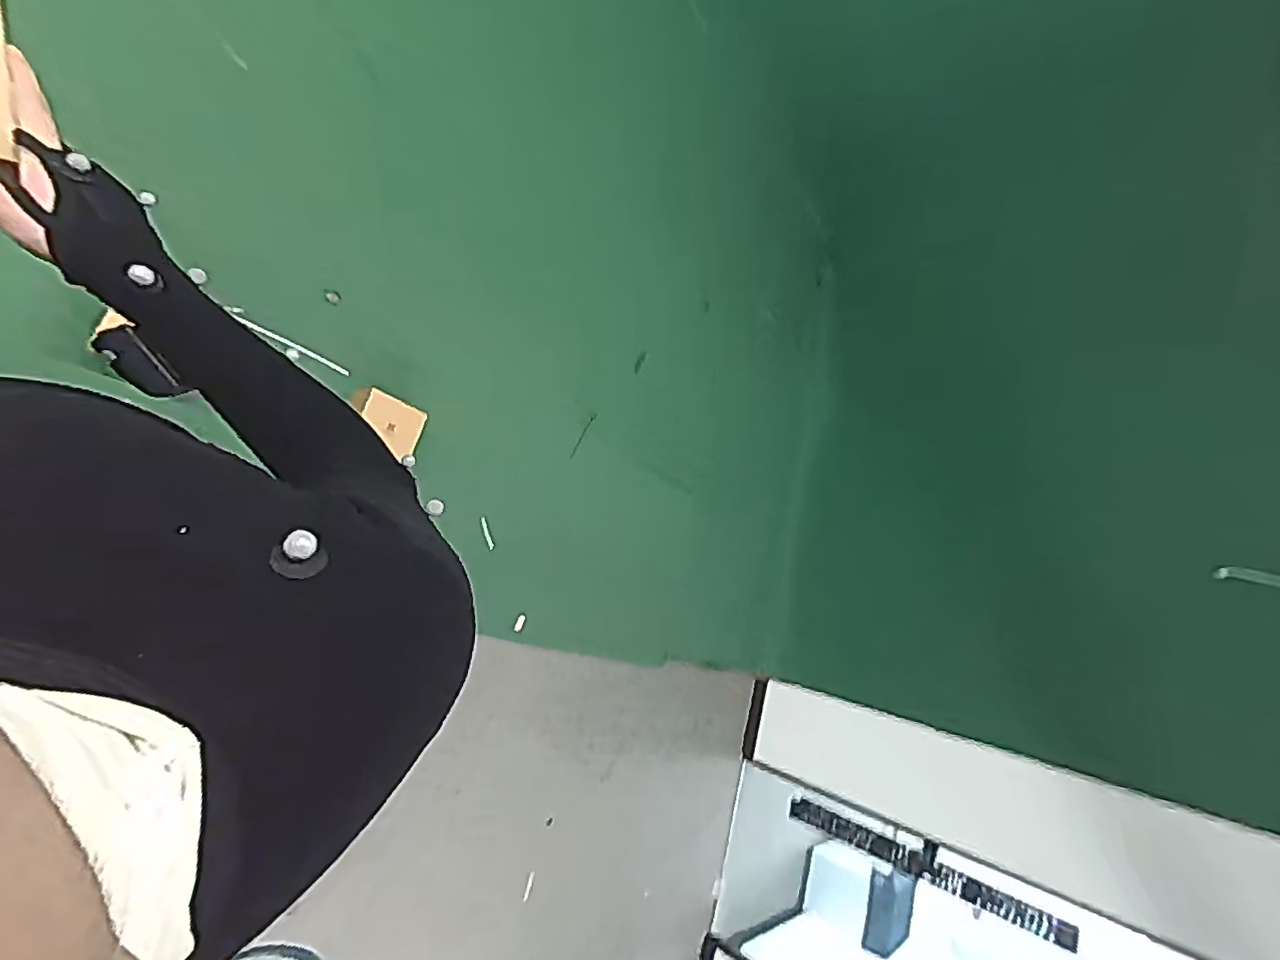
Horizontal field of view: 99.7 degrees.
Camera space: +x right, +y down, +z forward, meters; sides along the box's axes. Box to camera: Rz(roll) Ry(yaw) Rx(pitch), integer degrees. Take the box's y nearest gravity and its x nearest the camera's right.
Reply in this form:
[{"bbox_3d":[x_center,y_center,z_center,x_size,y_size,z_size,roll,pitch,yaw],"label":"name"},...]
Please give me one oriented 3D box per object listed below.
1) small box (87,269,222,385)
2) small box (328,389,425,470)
[{"bbox_3d":[-1.065,-0.323,1.188,0.168,0.176,0.179,29,70,-44],"label":"small box"},{"bbox_3d":[-0.751,-0.139,1.535,0.168,0.176,0.179,31,70,-44],"label":"small box"}]
